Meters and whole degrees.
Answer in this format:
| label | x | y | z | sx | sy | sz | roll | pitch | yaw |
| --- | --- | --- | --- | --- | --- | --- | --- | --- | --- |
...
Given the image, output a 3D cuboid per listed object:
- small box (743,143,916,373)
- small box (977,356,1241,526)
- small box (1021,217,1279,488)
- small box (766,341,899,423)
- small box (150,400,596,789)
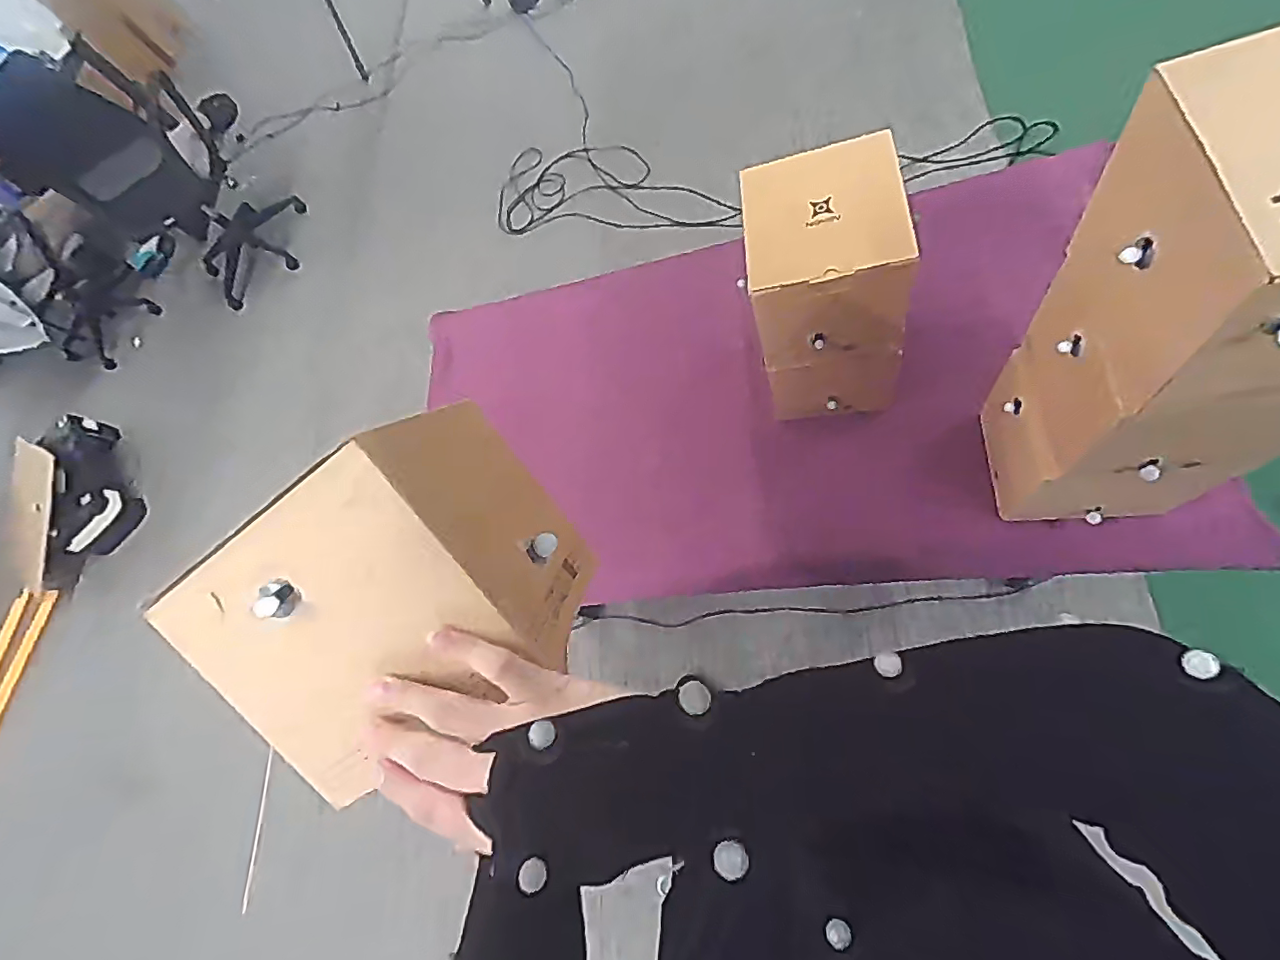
| label | x | y | z | sx | sy | sz | roll | pitch | yaw |
| --- | --- | --- | --- | --- | --- | --- | --- | --- | --- |
| small box | 0.219 | -0.254 | 0.654 | 0.168 | 0.176 | 0.179 | -6 | 70 | 16 |
| small box | 0.535 | -0.045 | 0.651 | 0.179 | 0.176 | 0.168 | -4 | 68 | 18 |
| small box | 0.486 | -0.104 | 0.506 | 0.168 | 0.176 | 0.179 | -4 | 69 | 19 |
| small box | 0.275 | -0.202 | 0.797 | 0.168 | 0.176 | 0.179 | -4 | 70 | 18 |
| small box | -0.157 | 0.069 | 0.378 | 0.179 | 0.168 | 0.176 | -34 | 100 | 11 |
